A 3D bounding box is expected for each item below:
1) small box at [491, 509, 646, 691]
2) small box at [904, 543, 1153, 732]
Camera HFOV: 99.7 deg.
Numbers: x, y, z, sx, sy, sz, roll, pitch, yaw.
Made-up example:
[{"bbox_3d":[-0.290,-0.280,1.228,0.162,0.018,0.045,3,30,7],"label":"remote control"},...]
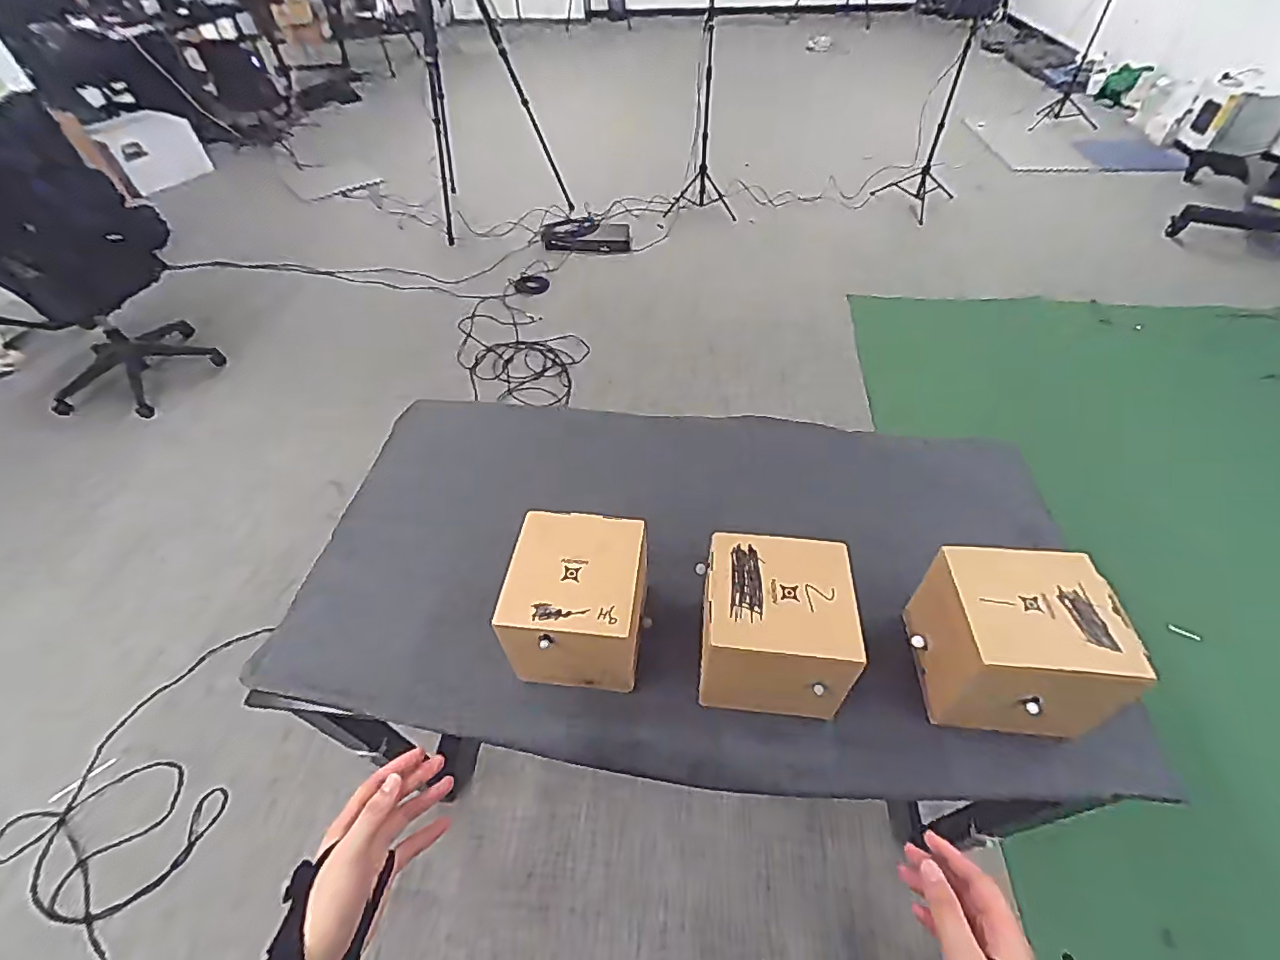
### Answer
[{"bbox_3d":[-0.083,0.164,0.741,0.168,0.176,0.179,4,47,7],"label":"small box"},{"bbox_3d":[0.461,0.200,0.681,0.179,0.176,0.168,3,45,7],"label":"small box"}]
